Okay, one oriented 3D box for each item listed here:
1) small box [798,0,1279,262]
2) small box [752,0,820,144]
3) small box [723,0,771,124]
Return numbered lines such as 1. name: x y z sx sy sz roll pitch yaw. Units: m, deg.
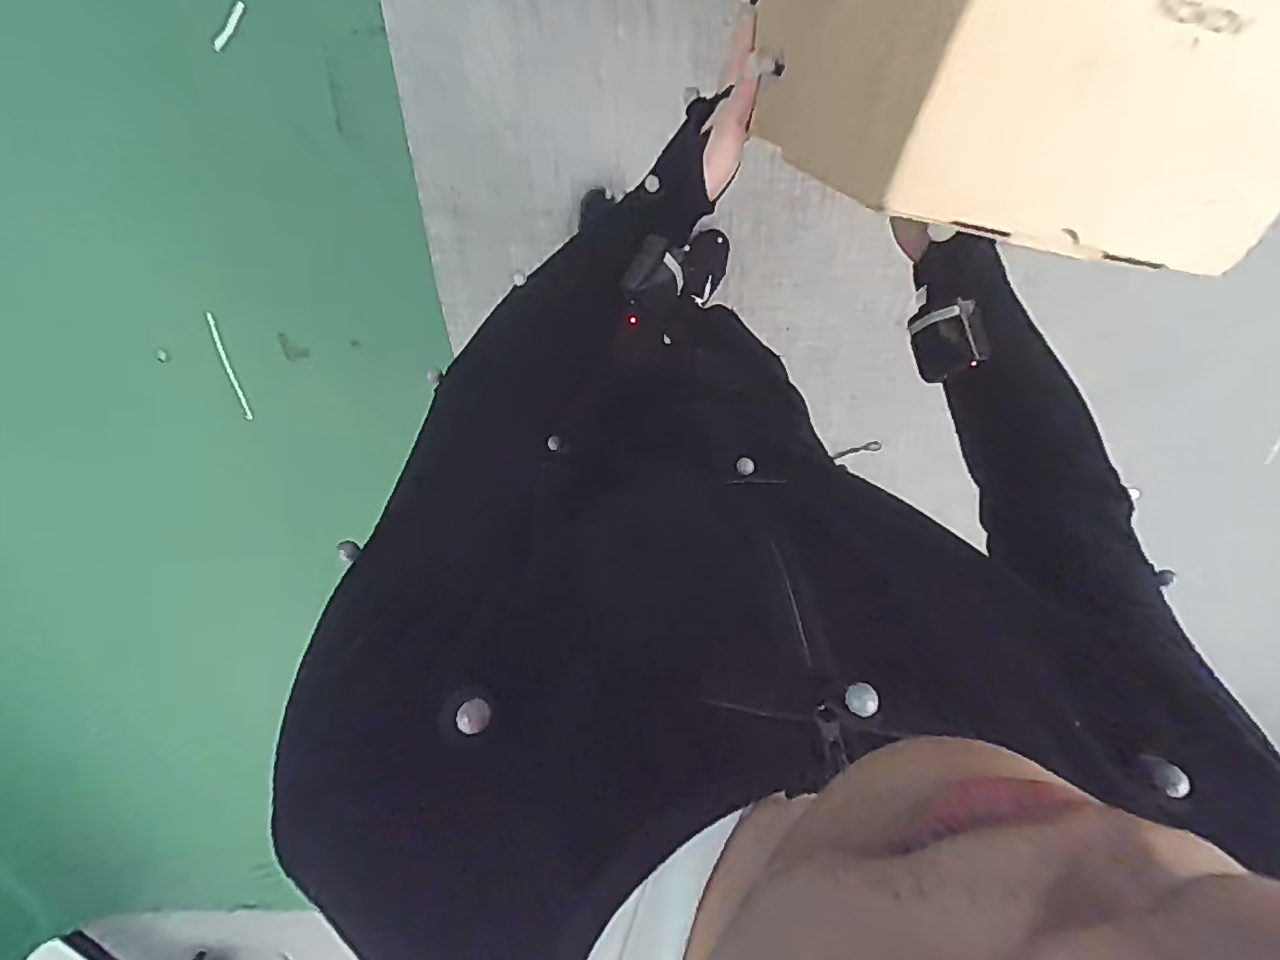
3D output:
1. small box: 0.187 -0.224 0.241 0.168 0.176 0.179 7 128 -8
2. small box: 0.186 -0.326 0.369 0.168 0.176 0.179 8 126 -8
3. small box: 0.180 -0.426 0.497 0.168 0.176 0.179 7 126 -6
